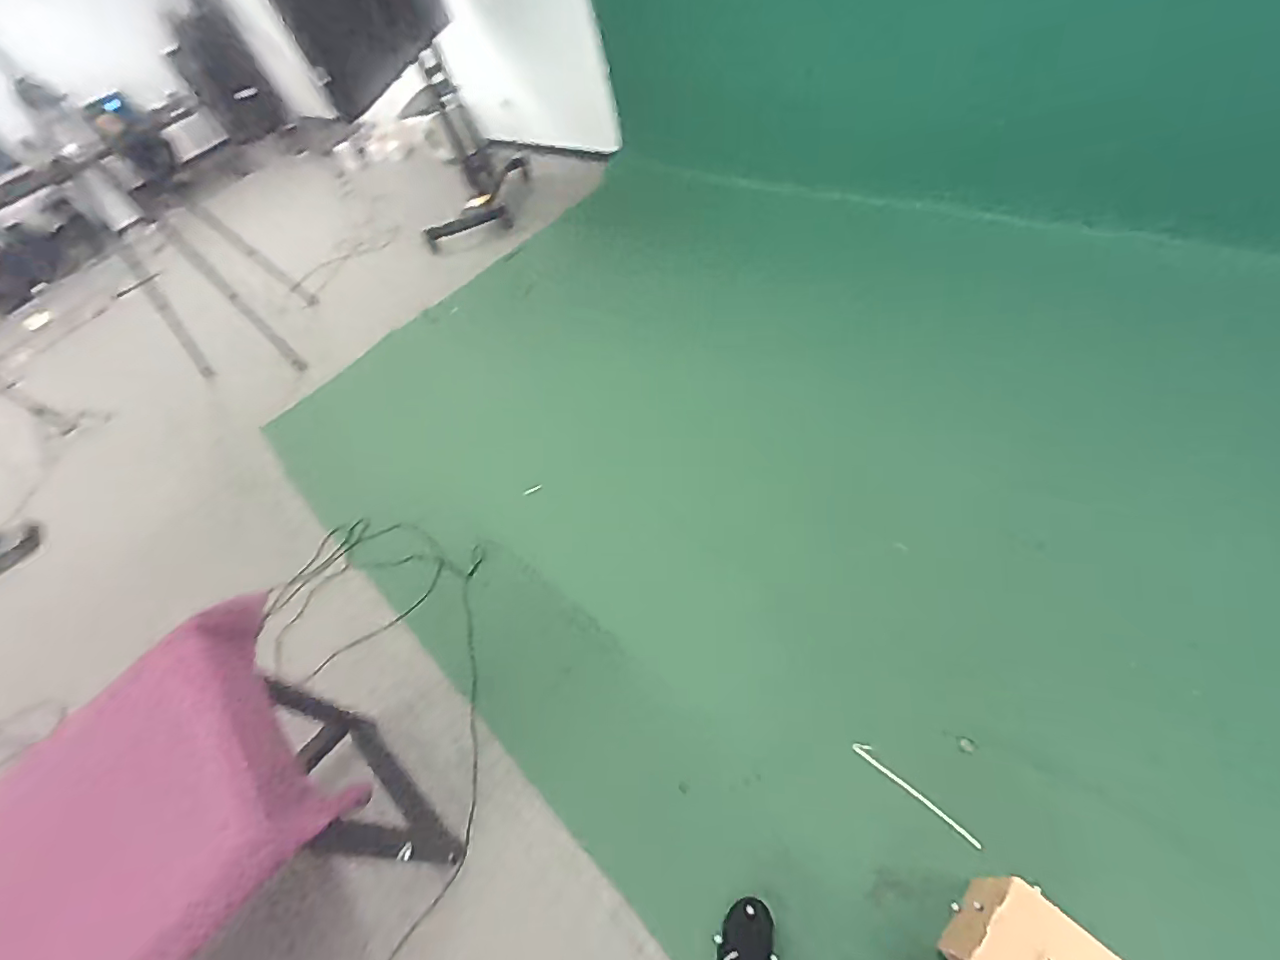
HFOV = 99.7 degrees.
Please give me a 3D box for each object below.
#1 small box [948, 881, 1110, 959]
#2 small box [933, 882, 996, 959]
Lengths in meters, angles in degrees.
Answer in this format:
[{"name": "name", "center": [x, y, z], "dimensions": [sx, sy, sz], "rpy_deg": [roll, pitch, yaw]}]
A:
[{"name": "small box", "center": [0.670, 0.834, 0.932], "dimensions": [0.168, 0.176, 0.179], "rpy_deg": [-44, 53, -17]}, {"name": "small box", "center": [0.710, 0.928, 1.058], "dimensions": [0.168, 0.176, 0.179], "rpy_deg": [-43, 54, -17]}]
